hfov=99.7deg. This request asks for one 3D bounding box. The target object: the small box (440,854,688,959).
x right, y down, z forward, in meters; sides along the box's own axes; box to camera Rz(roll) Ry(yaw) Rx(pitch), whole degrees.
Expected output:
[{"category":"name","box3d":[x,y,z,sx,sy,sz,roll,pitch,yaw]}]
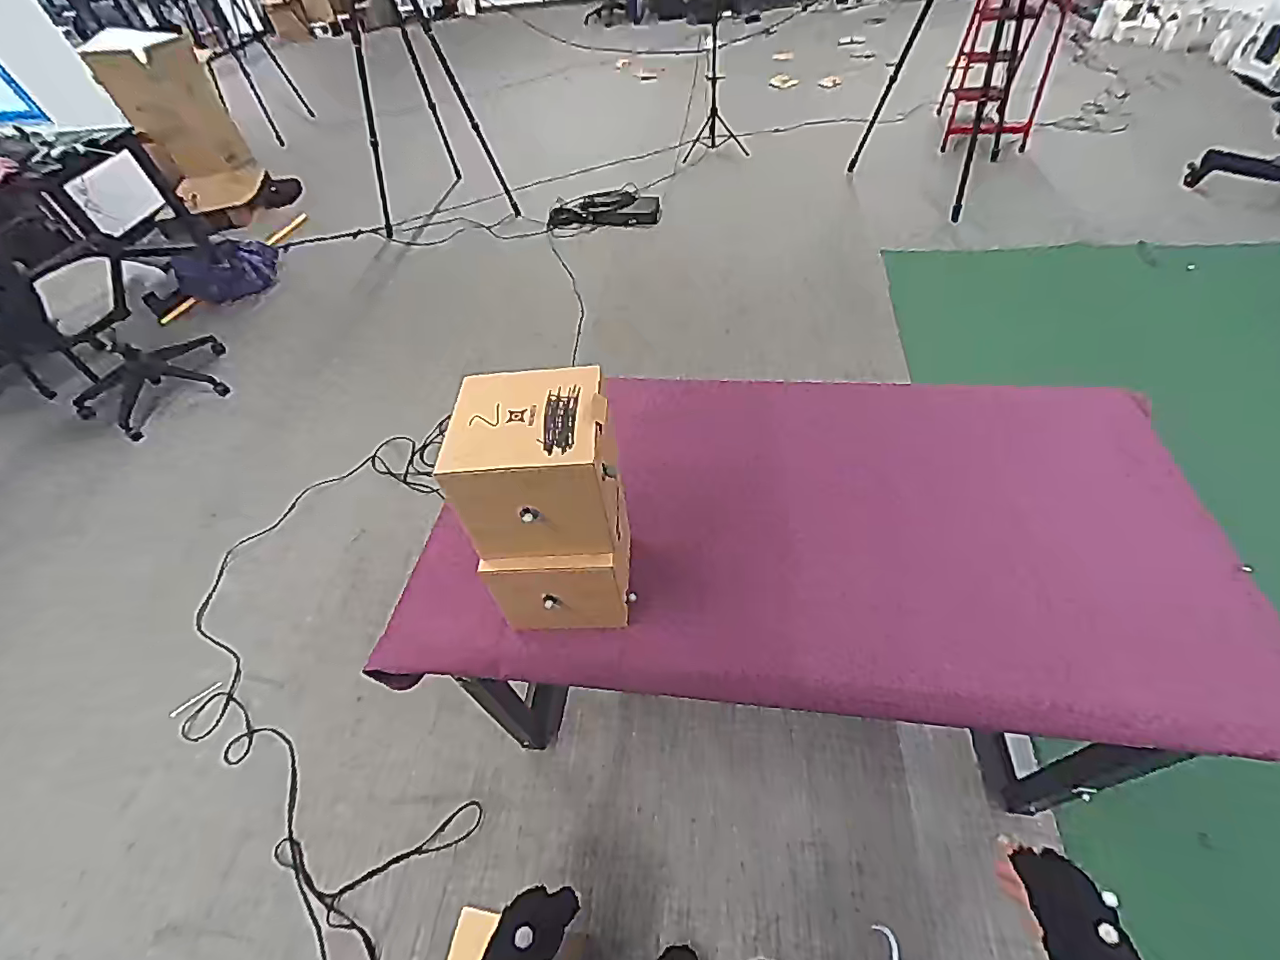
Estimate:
[{"category":"small box","box3d":[-0.086,0.482,0.500,0.168,0.179,0.176,-3,68,59]}]

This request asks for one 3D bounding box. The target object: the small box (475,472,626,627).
[{"category":"small box","box3d":[-0.115,0.104,0.789,0.179,0.176,0.168,-2,49,4]}]
